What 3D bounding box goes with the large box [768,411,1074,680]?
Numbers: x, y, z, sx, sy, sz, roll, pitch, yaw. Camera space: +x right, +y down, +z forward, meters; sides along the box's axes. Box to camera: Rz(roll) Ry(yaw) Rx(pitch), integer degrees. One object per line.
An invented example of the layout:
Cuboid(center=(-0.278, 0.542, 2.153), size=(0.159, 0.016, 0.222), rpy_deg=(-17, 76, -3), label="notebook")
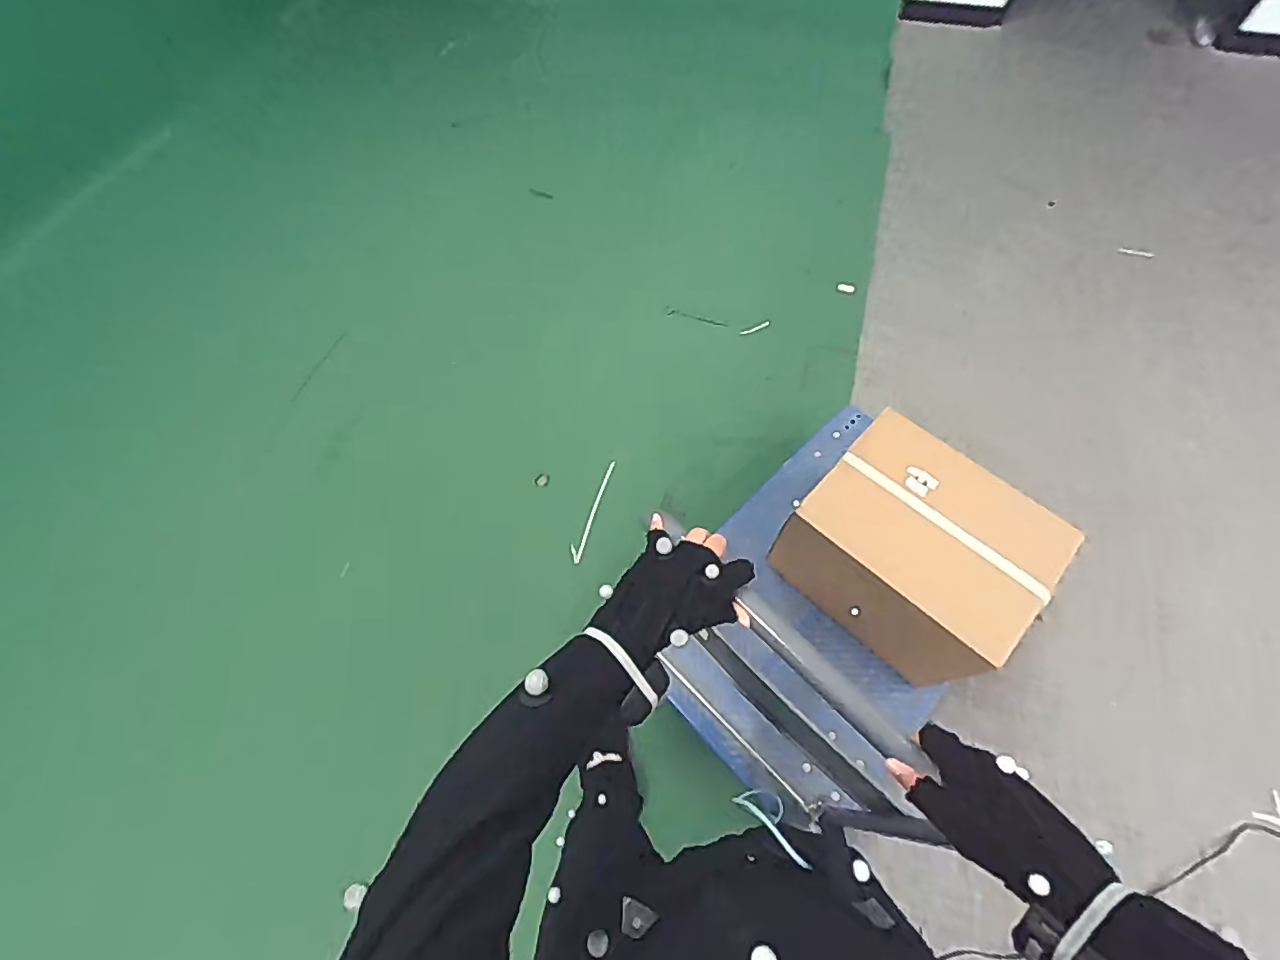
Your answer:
Cuboid(center=(0.536, 0.143, 1.114), size=(0.408, 0.320, 0.320), rpy_deg=(40, 71, 20), label="large box")
